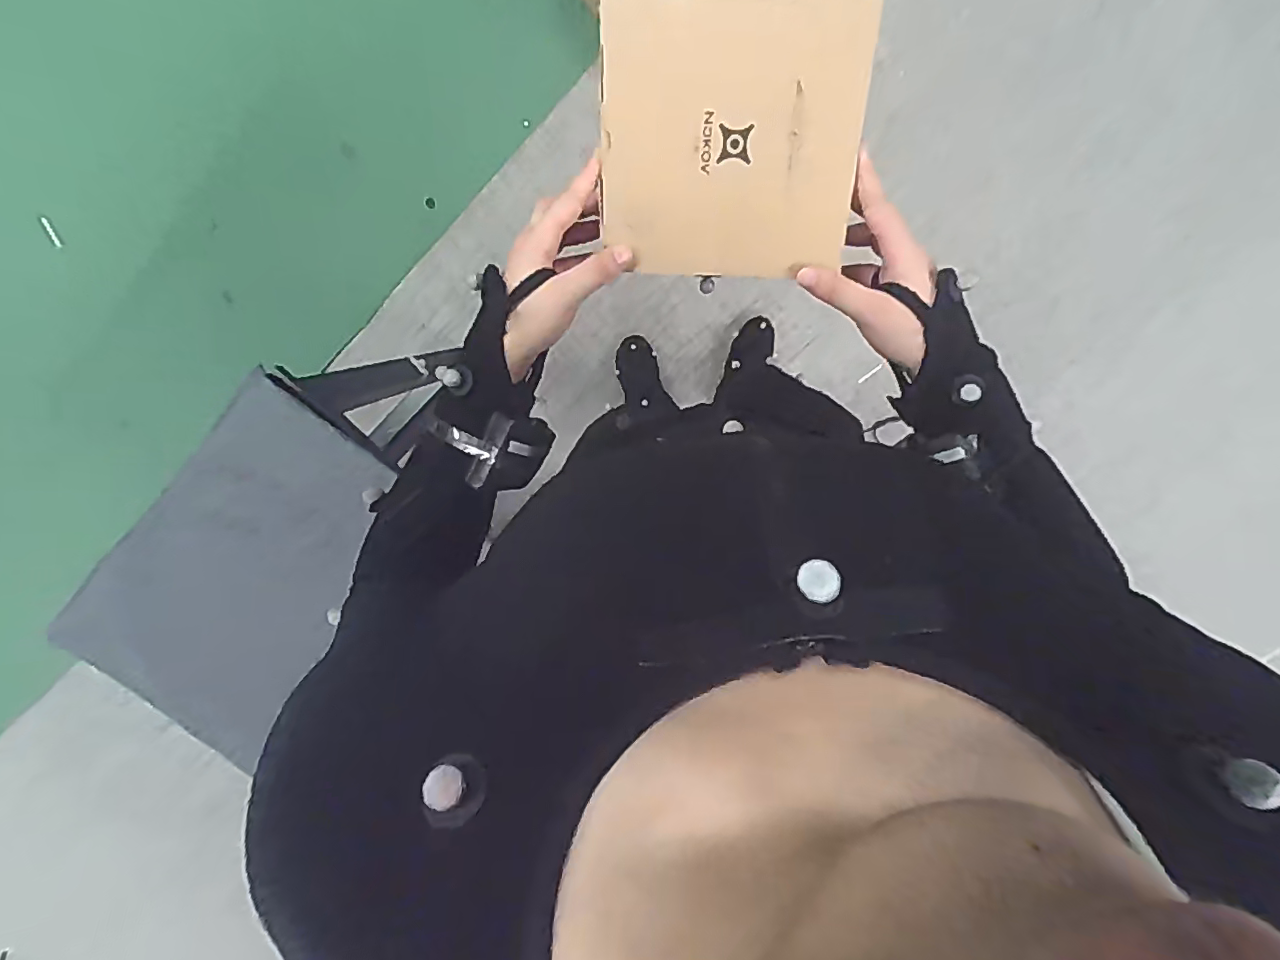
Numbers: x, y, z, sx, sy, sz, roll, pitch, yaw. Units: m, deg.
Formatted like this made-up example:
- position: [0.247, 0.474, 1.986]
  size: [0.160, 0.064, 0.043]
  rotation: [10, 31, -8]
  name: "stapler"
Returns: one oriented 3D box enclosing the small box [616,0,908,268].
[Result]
- position: [0.074, -0.257, 0.423]
  size: [0.179, 0.176, 0.168]
  rotation: [1, 113, 0]
  name: "small box"
